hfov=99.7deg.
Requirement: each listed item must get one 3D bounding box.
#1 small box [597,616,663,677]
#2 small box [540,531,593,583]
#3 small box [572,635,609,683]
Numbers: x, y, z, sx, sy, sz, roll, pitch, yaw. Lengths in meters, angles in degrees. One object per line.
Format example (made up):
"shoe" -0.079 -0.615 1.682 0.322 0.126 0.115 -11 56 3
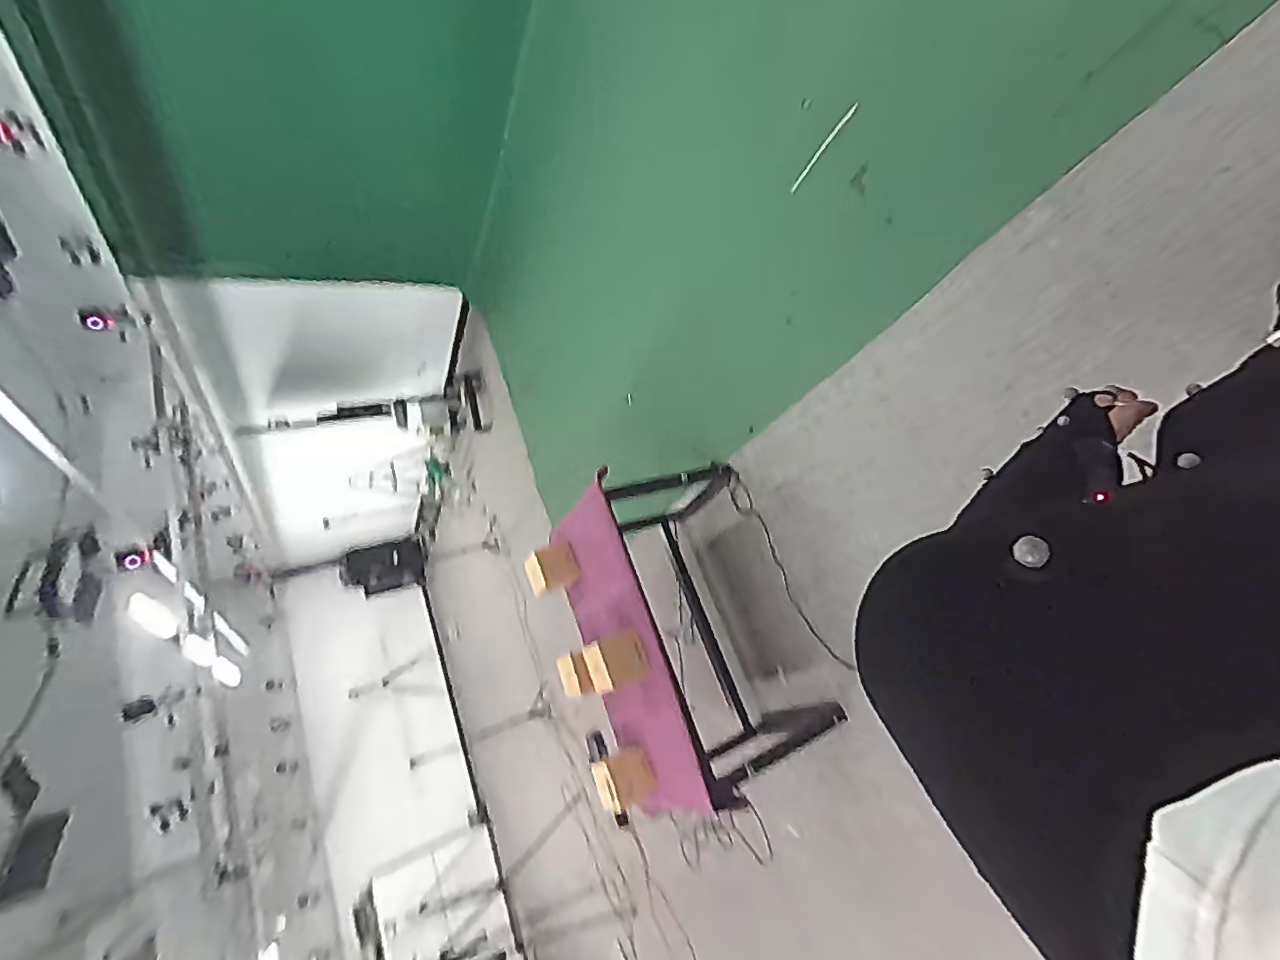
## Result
"small box" -0.037 0.630 2.042 0.179 0.176 0.168 -48 60 56
"small box" -0.333 0.349 2.445 0.168 0.176 0.179 66 147 16
"small box" -0.170 0.754 2.314 0.179 0.176 0.168 -42 63 54
